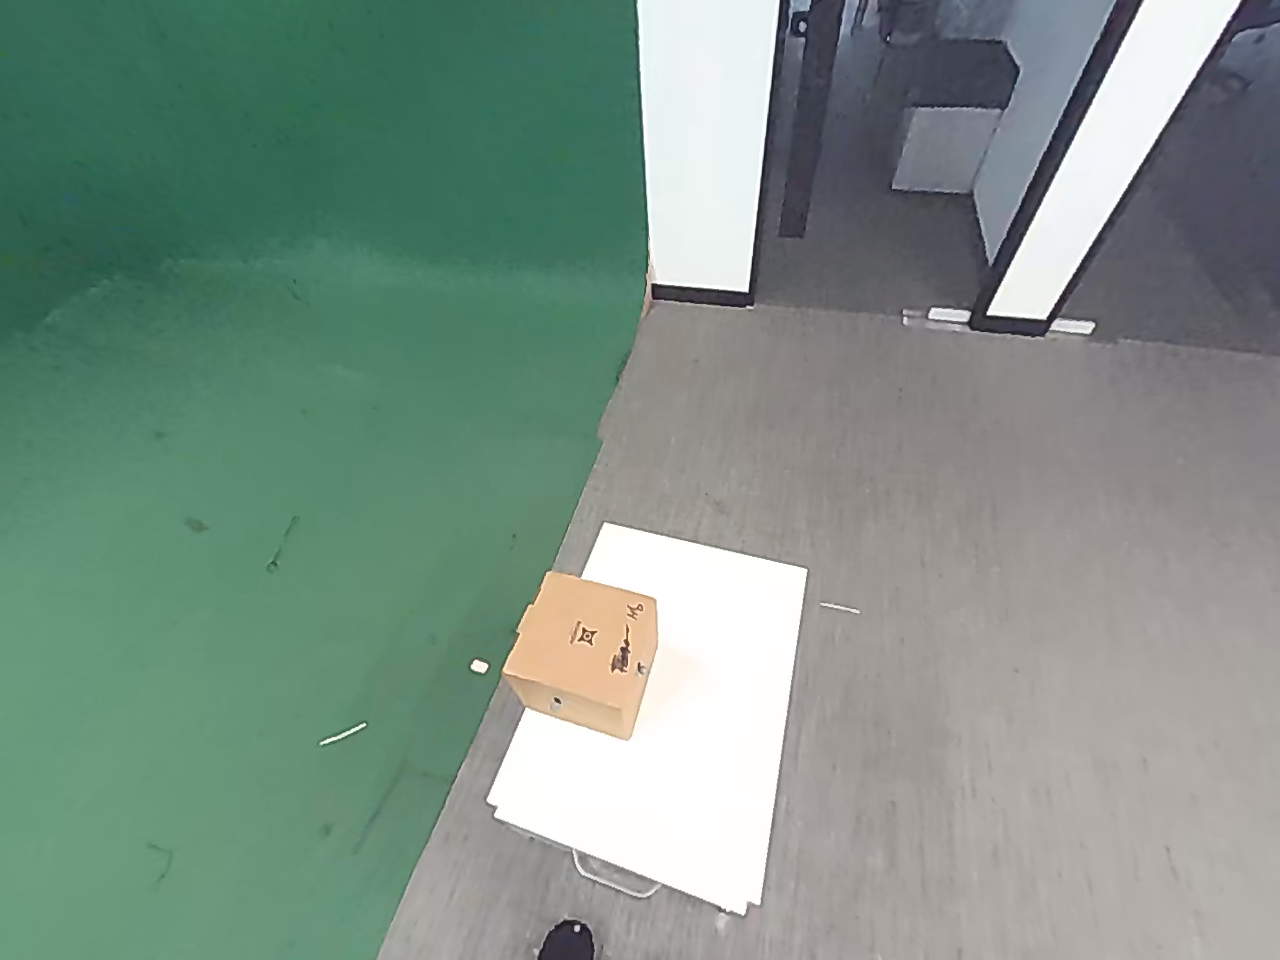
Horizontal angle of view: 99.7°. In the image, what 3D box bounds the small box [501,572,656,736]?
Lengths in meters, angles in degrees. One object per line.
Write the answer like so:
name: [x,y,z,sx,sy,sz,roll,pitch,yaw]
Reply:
small box: [-0.080,0.268,0.822,0.179,0.176,0.168,12,53,13]
